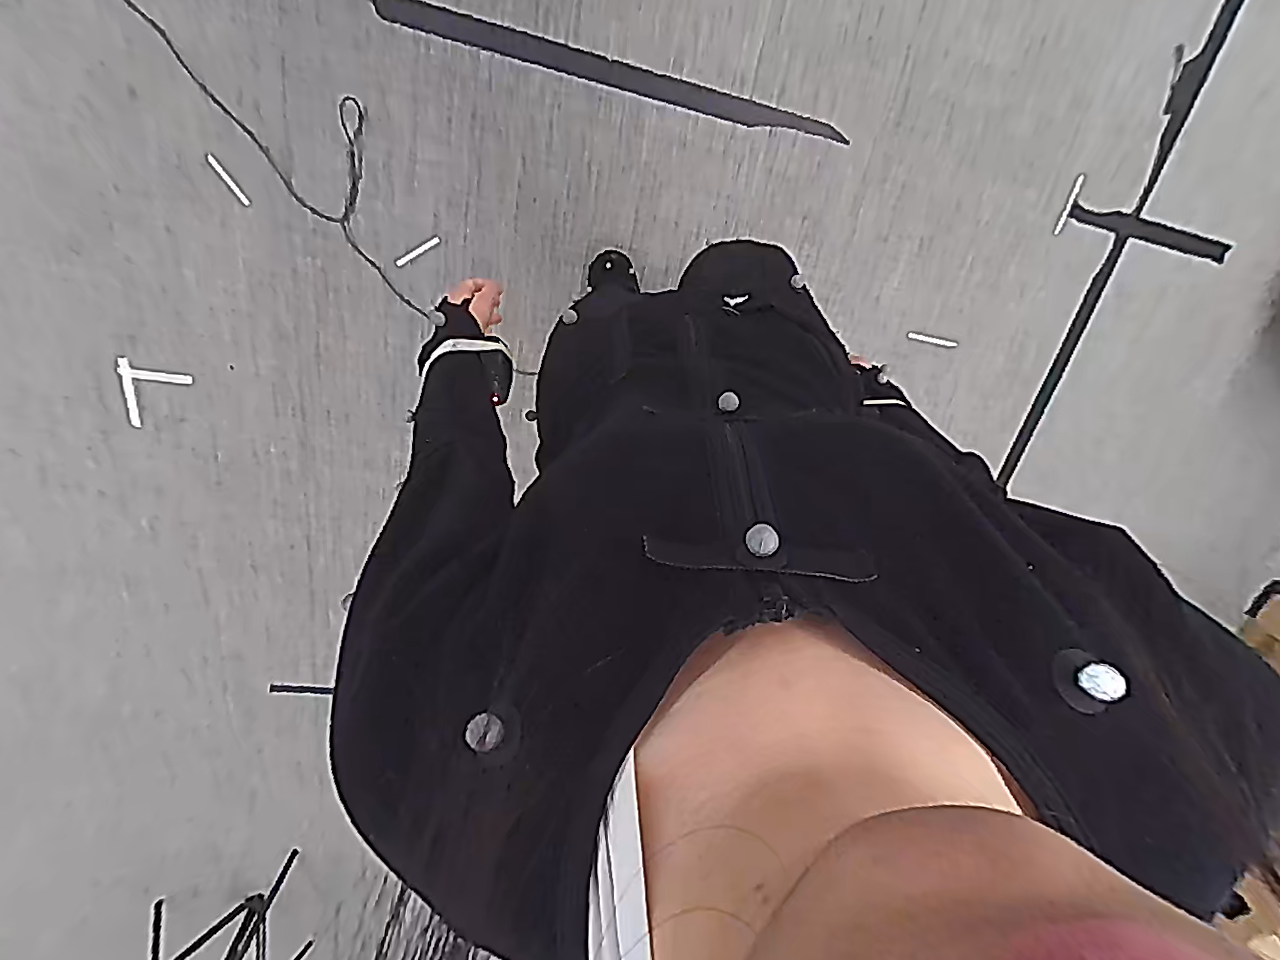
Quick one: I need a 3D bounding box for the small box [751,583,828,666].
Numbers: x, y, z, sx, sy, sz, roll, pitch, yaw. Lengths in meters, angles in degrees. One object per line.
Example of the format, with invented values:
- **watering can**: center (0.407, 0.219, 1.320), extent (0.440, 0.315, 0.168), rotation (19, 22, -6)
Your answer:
- **small box**: center (0.477, 0.457, 1.749), extent (0.168, 0.176, 0.179), rotation (-26, 116, 6)
